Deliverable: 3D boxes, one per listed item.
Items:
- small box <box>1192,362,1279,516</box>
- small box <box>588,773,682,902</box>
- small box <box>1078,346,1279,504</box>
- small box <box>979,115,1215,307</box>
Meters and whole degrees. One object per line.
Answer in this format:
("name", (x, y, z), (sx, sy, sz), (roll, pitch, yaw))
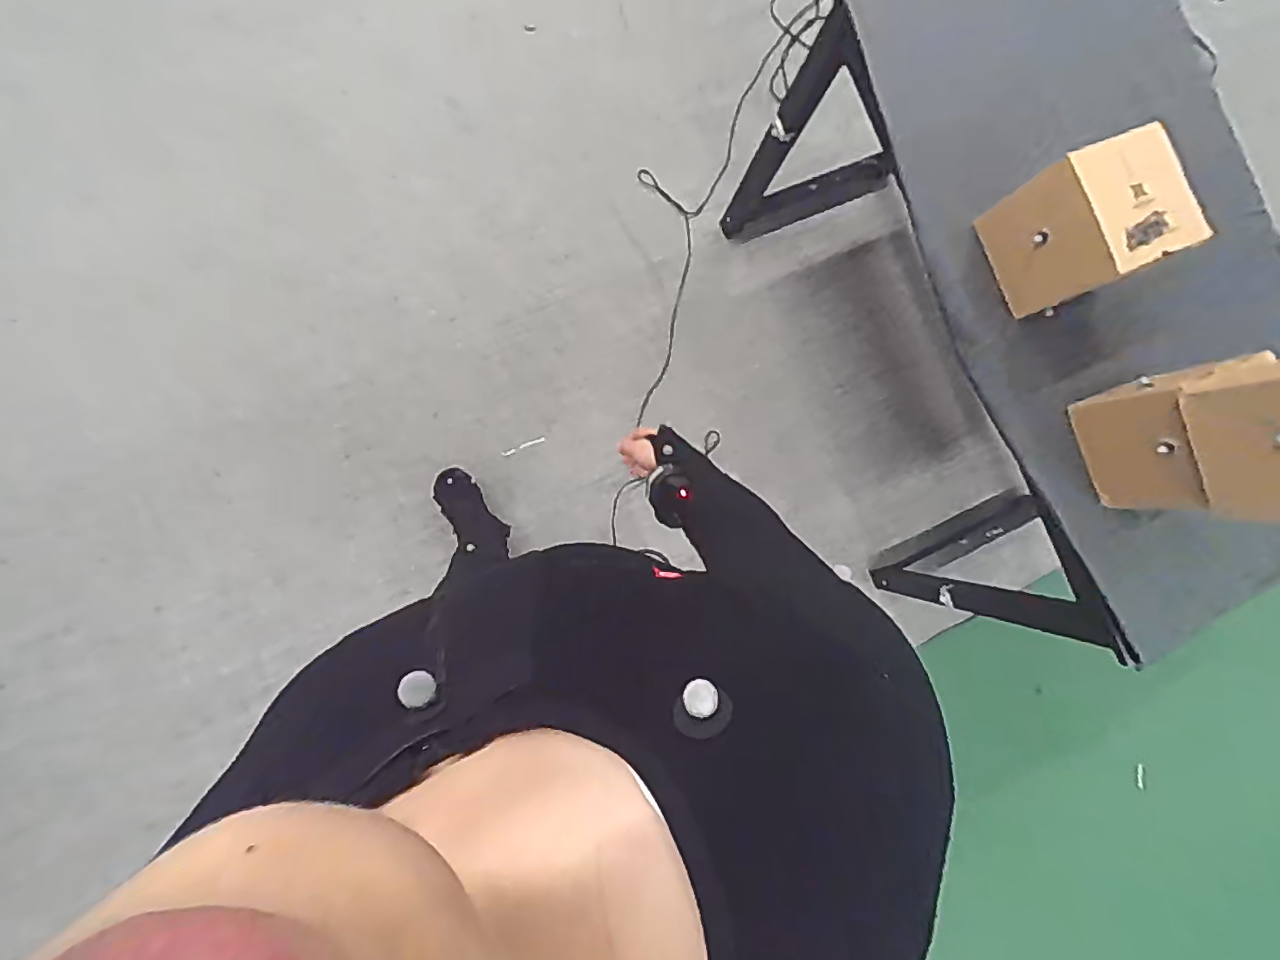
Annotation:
("small box", (0.813, -0.062, 0.628), (0.168, 0.176, 0.179), (-17, 89, -8))
("small box", (-0.020, 0.856, 1.316), (0.179, 0.176, 0.168), (-22, 89, -7))
("small box", (0.802, -0.070, 0.793), (0.168, 0.176, 0.179), (-20, 91, -8))
("small box", (0.648, -0.373, 0.788), (0.168, 0.176, 0.179), (-23, 89, -10))
